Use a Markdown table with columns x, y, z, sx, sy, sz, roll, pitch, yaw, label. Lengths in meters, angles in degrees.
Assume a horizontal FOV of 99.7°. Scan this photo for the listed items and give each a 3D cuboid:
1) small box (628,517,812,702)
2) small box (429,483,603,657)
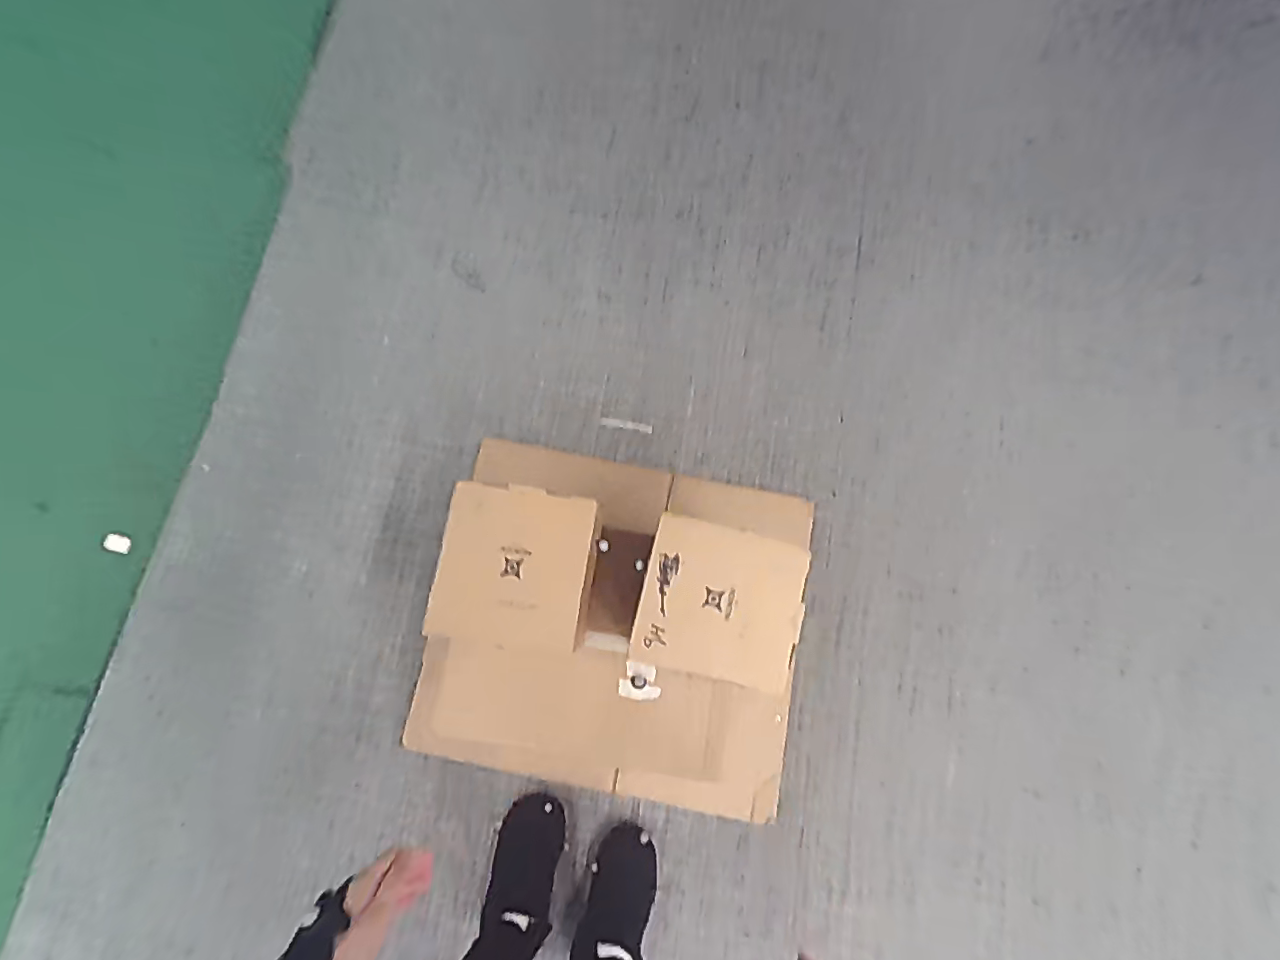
| x | y | z | sx | sy | sz | roll | pitch | yaw | label |
| --- | --- | --- | --- | --- | --- | --- | --- | --- | --- |
| 0.089 | 0.156 | 0.671 | 0.179 | 0.176 | 0.168 | 15 | 77 | 2 | small box |
| -0.139 | 0.116 | 0.679 | 0.168 | 0.176 | 0.179 | 7 | 76 | 1 | small box |
